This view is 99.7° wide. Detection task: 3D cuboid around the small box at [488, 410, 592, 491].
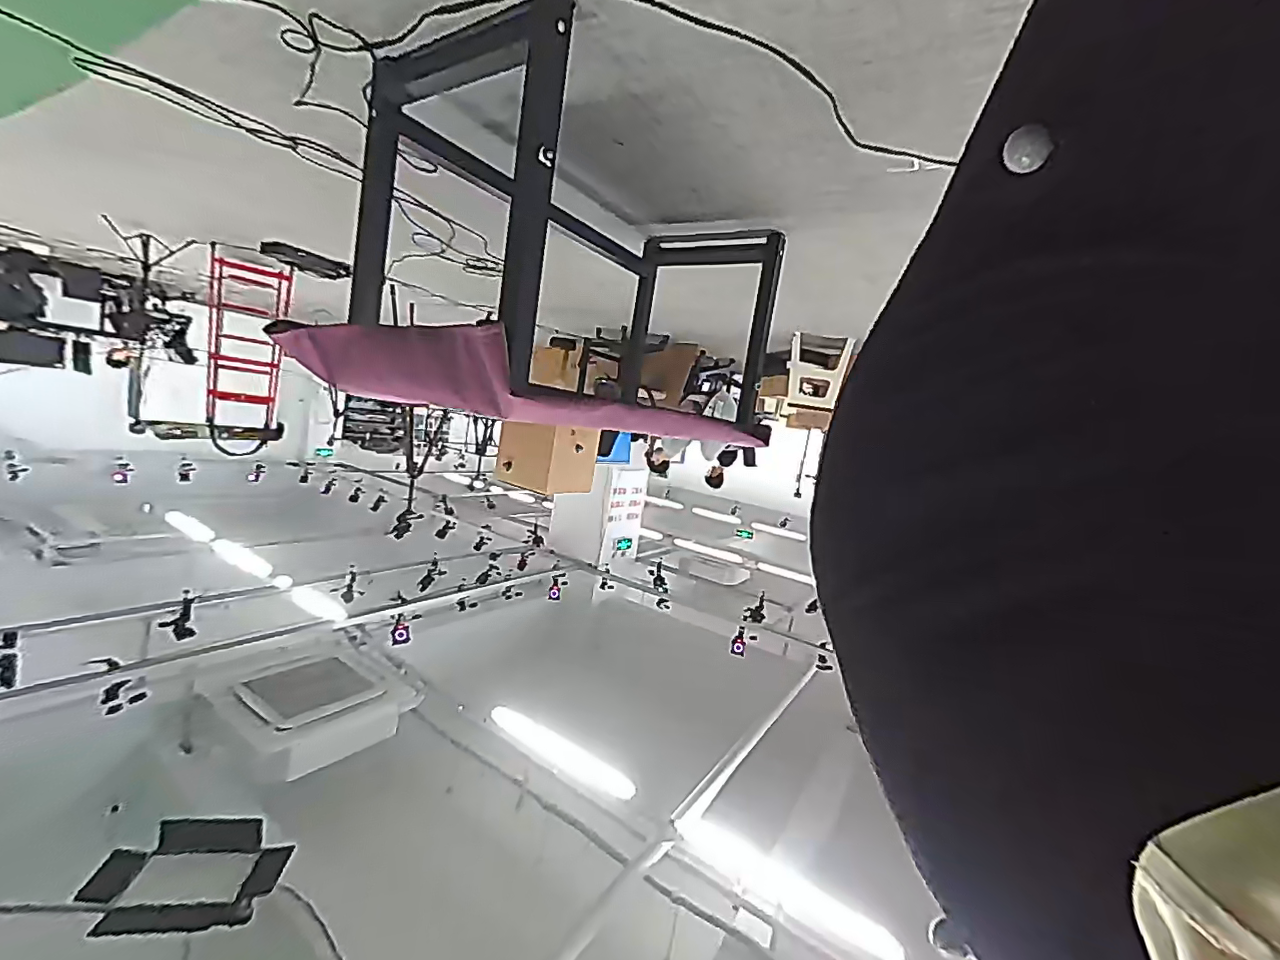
[{"bbox_3d":[-0.235,-0.075,1.299,0.179,0.176,0.168,14,-171,31],"label":"small box"}]
